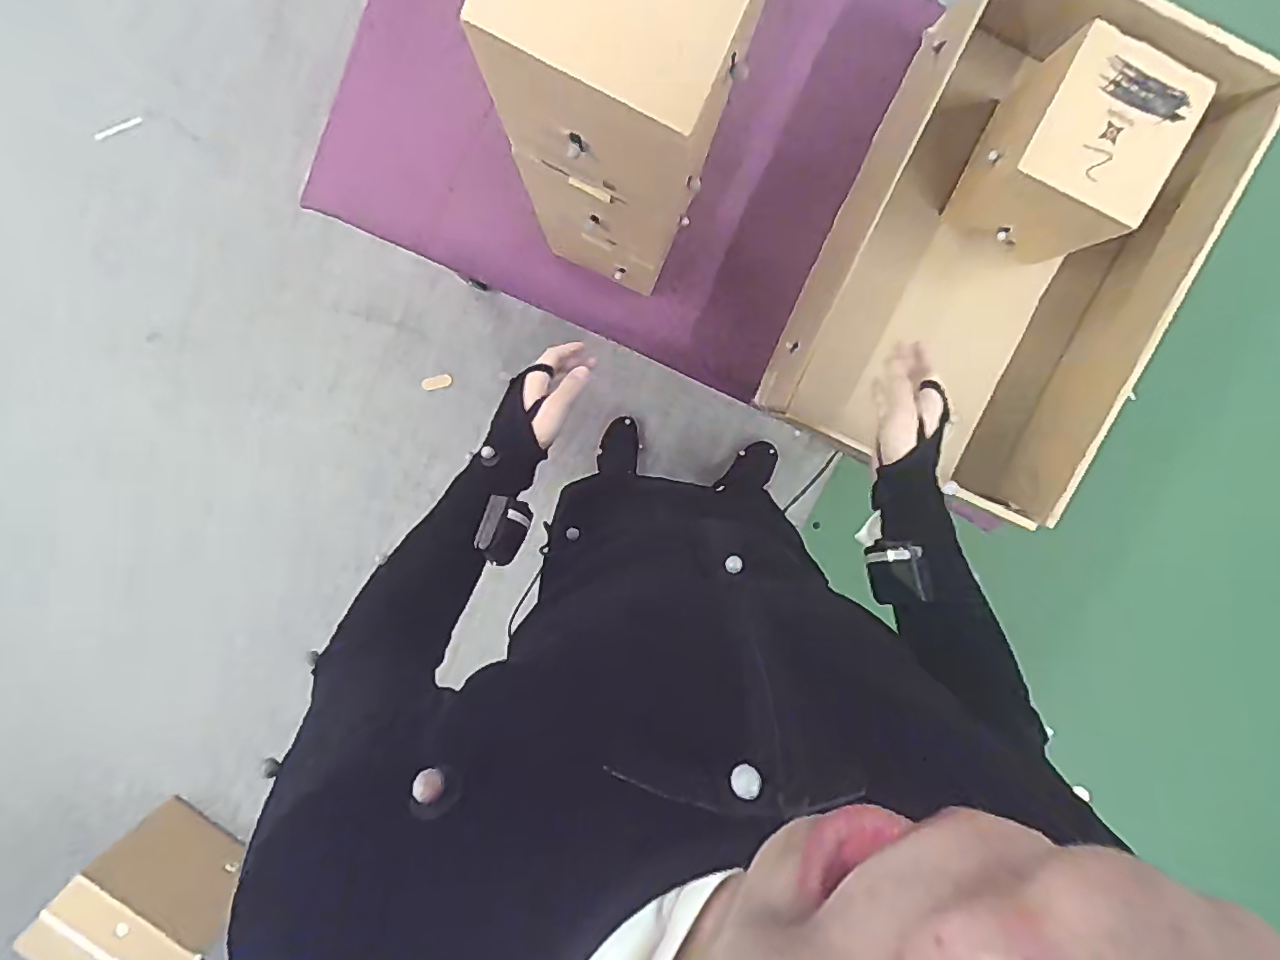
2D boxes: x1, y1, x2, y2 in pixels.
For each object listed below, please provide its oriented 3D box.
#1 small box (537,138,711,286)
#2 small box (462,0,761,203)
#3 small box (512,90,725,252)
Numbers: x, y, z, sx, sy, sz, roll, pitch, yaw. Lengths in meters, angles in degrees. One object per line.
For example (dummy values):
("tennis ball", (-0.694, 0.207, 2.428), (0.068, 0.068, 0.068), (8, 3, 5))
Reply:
("small box", (-0.021, -0.393, 0.744), (0.168, 0.176, 0.179), (24, 95, -5))
("small box", (-0.007, -0.353, 0.418), (0.168, 0.176, 0.179), (25, 96, -6))
("small box", (-0.015, -0.375, 0.582), (0.168, 0.176, 0.179), (23, 97, -5))
